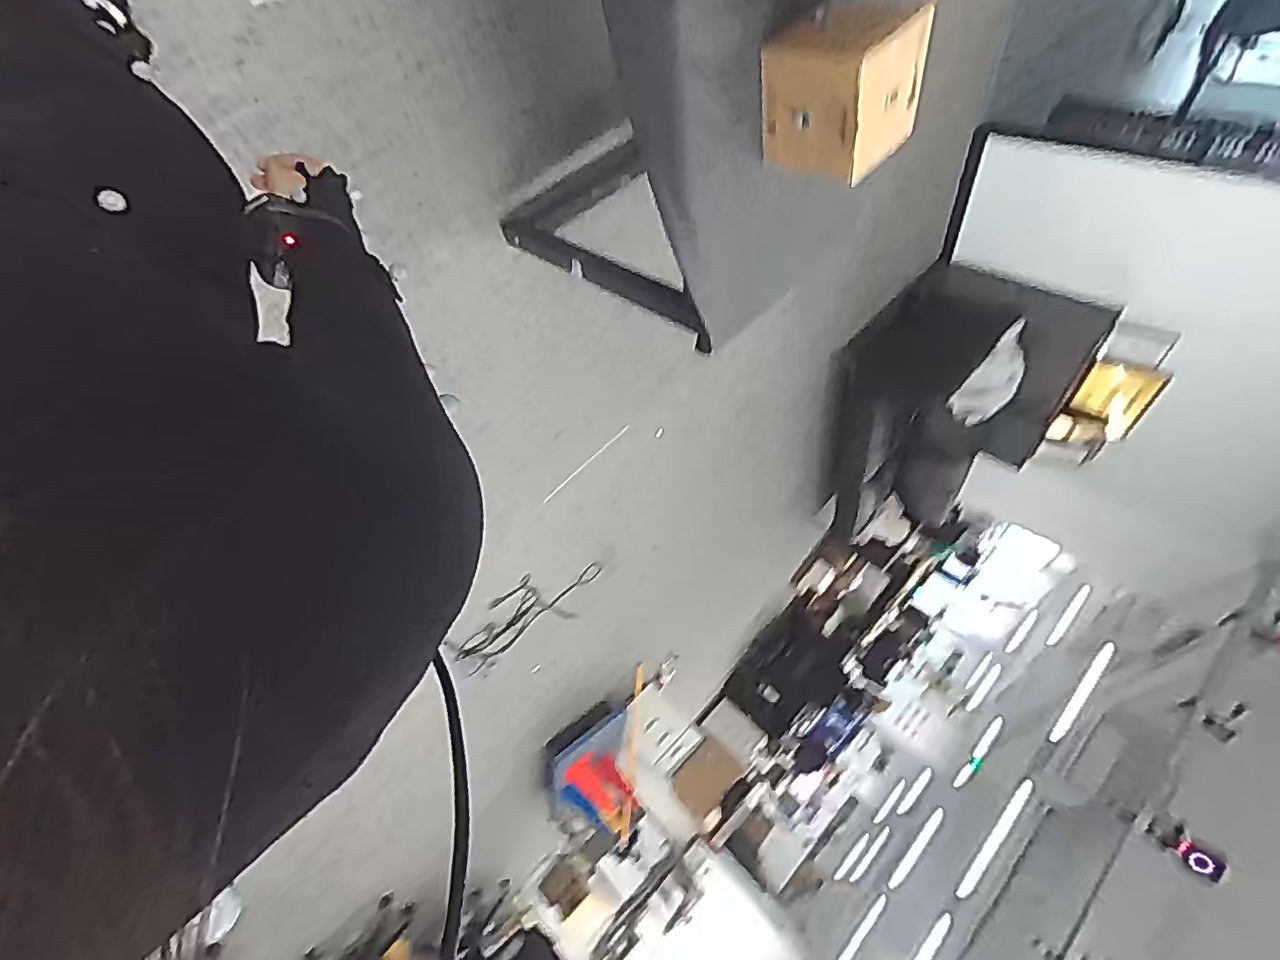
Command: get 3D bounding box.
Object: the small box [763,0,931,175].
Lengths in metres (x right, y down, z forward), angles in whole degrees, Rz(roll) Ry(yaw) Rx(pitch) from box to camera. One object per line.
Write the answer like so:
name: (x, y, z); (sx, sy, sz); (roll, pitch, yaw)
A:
small box: (0.301, -0.602, 0.822); (0.179, 0.176, 0.168); (-44, 147, -16)
